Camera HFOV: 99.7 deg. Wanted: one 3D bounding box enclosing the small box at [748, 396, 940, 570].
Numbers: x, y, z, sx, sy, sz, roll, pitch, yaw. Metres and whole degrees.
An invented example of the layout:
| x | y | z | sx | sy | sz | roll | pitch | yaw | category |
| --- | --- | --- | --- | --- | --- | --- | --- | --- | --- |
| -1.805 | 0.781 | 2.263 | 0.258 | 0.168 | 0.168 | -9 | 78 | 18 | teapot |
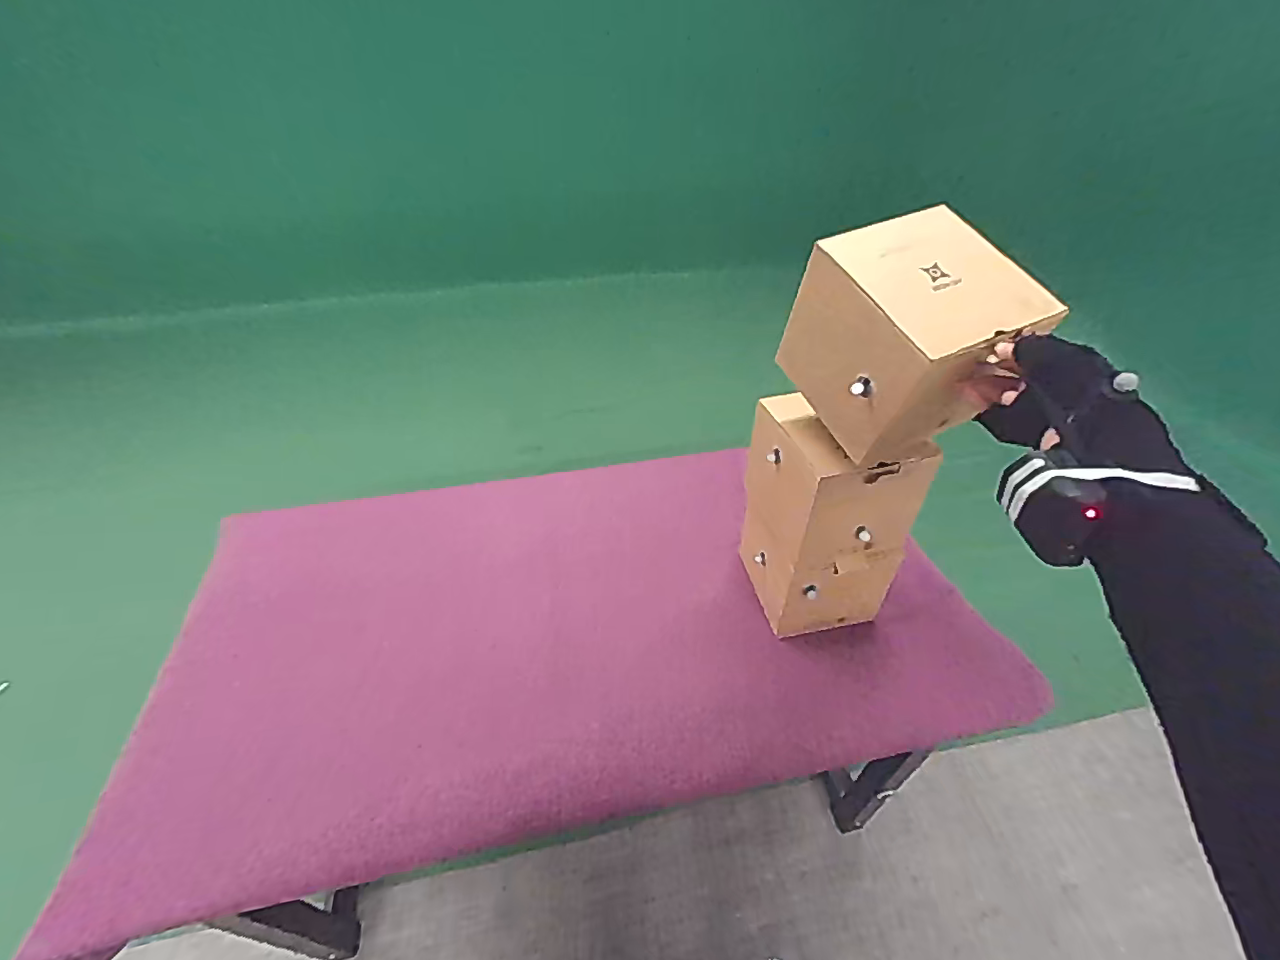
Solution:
| x | y | z | sx | sy | sz | roll | pitch | yaw | category |
| --- | --- | --- | --- | --- | --- | --- | --- | --- | --- |
| 0.261 | -0.005 | 0.745 | 0.168 | 0.176 | 0.179 | -11 | 44 | -10 | small box |

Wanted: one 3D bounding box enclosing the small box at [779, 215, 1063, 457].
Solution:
| x | y | z | sx | sy | sz | roll | pitch | yaw | category |
| --- | --- | --- | --- | --- | --- | --- | --- | --- | --- |
| 0.277 | -0.144 | 0.581 | 0.168 | 0.176 | 0.179 | -19 | 62 | -14 | small box |
